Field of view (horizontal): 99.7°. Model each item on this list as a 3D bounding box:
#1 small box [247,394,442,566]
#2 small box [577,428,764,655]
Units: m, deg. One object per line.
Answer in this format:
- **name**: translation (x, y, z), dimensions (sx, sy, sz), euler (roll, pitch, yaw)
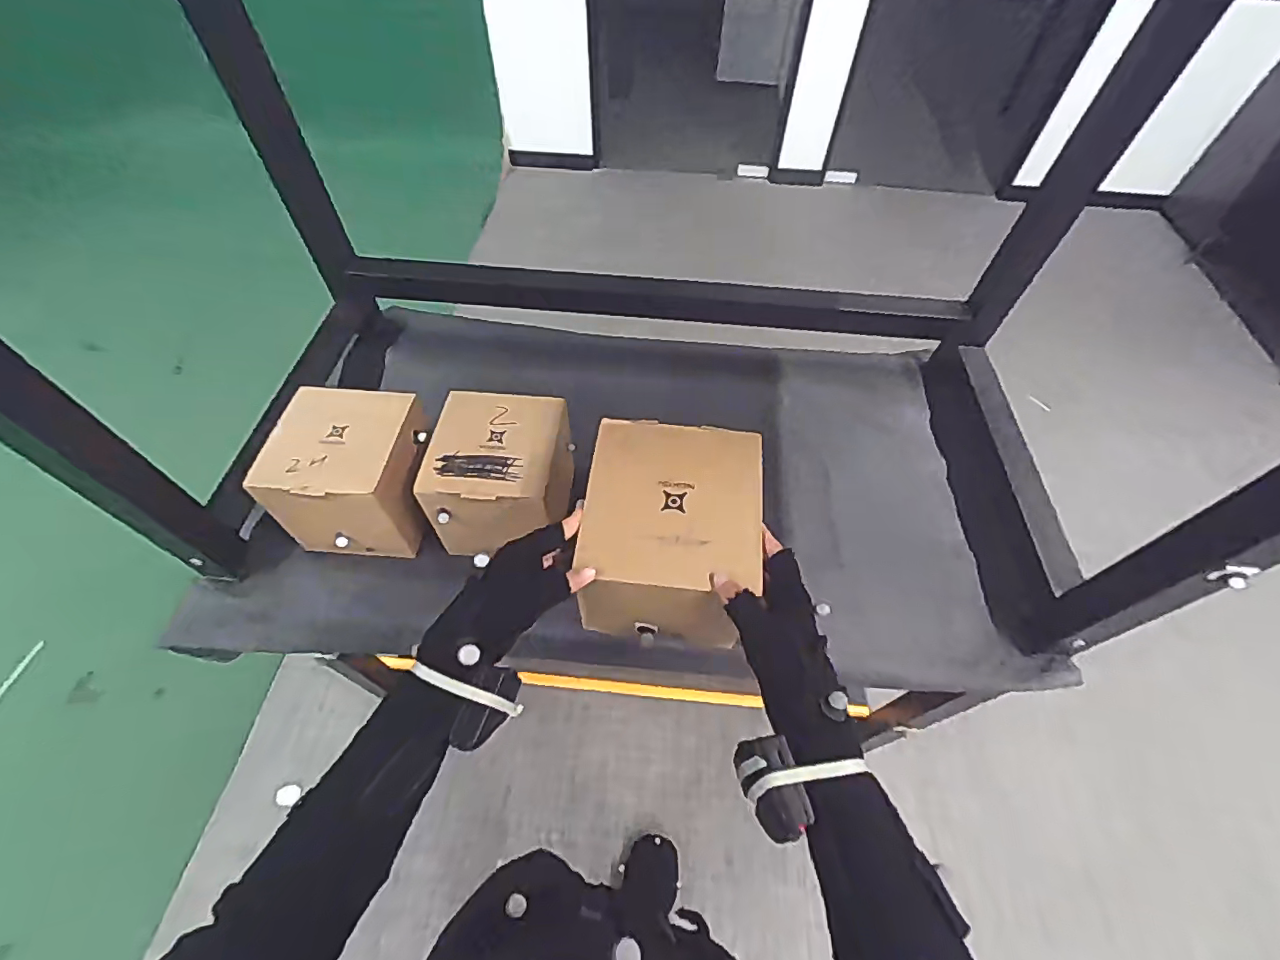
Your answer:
- **small box**: translation (-0.399, 0.002, 0.774), dimensions (0.168, 0.176, 0.179), euler (4, 54, 1)
- **small box**: translation (0.032, 0.070, 0.574), dimensions (0.168, 0.176, 0.179), euler (5, 58, 2)
